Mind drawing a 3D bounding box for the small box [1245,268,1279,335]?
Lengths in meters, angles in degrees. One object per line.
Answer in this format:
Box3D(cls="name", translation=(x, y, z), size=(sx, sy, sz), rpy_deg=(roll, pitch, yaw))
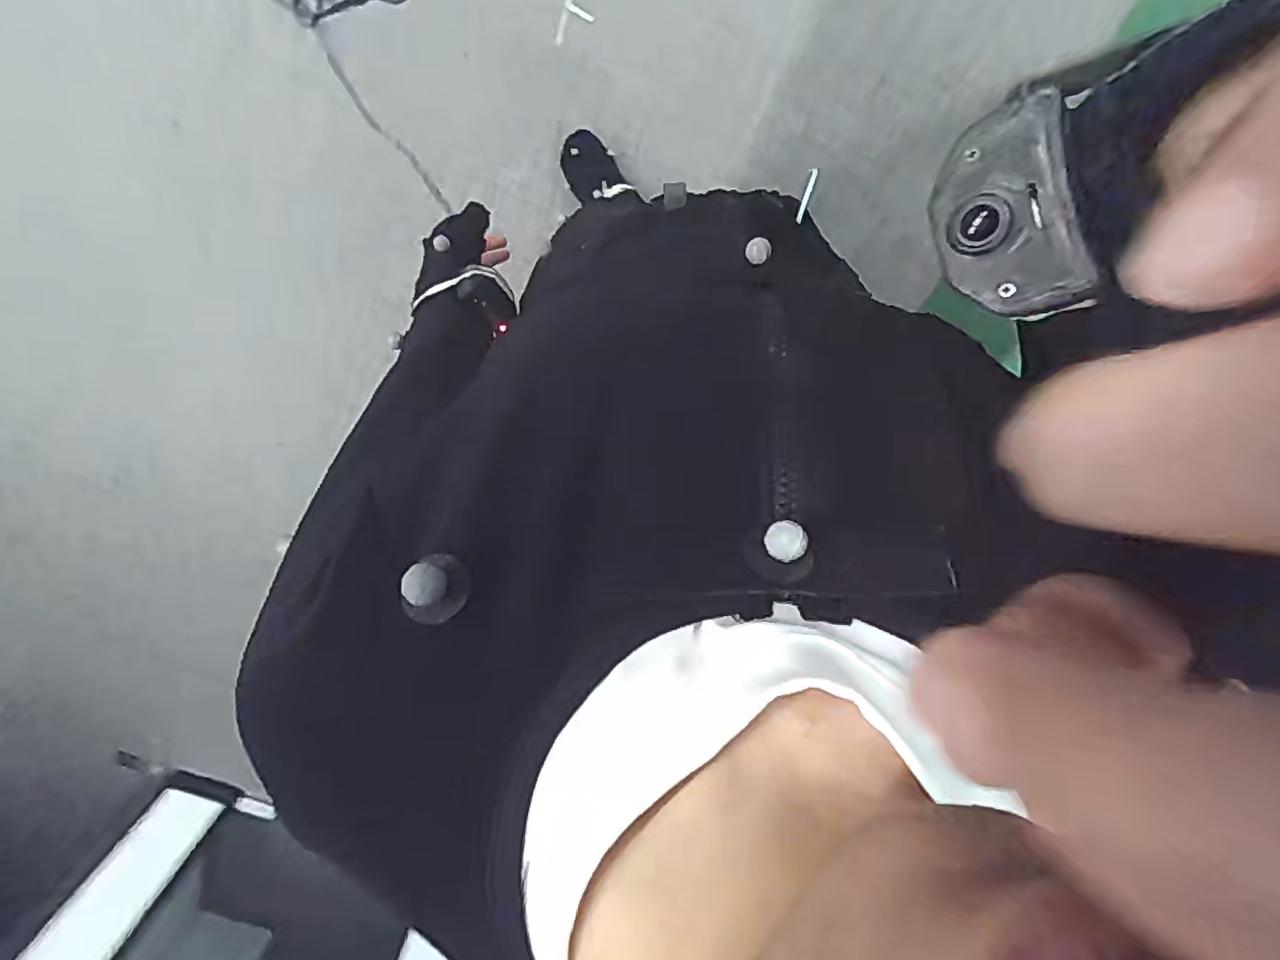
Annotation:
Box3D(cls="small box", translation=(0.781, -0.187, 0.515), size=(0.179, 0.176, 0.168), rpy_deg=(18, 118, -4))
